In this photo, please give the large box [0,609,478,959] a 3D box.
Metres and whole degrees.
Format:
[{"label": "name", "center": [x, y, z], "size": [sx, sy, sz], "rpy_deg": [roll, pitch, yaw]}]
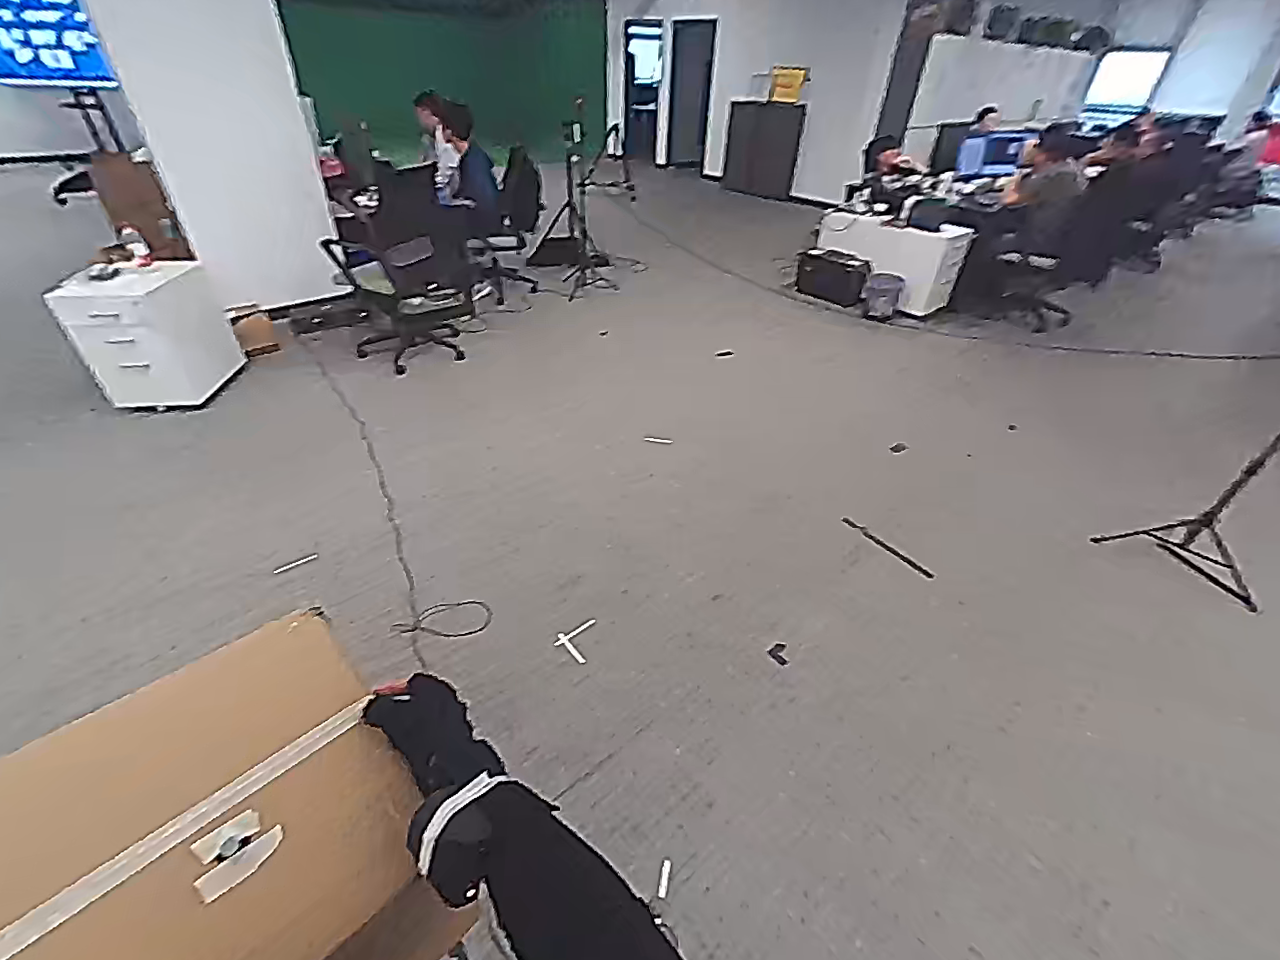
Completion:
[{"label": "large box", "center": [-0.423, 0.420, 0.538], "size": [0.408, 0.320, 0.320], "rpy_deg": [-29, 55, -37]}]
